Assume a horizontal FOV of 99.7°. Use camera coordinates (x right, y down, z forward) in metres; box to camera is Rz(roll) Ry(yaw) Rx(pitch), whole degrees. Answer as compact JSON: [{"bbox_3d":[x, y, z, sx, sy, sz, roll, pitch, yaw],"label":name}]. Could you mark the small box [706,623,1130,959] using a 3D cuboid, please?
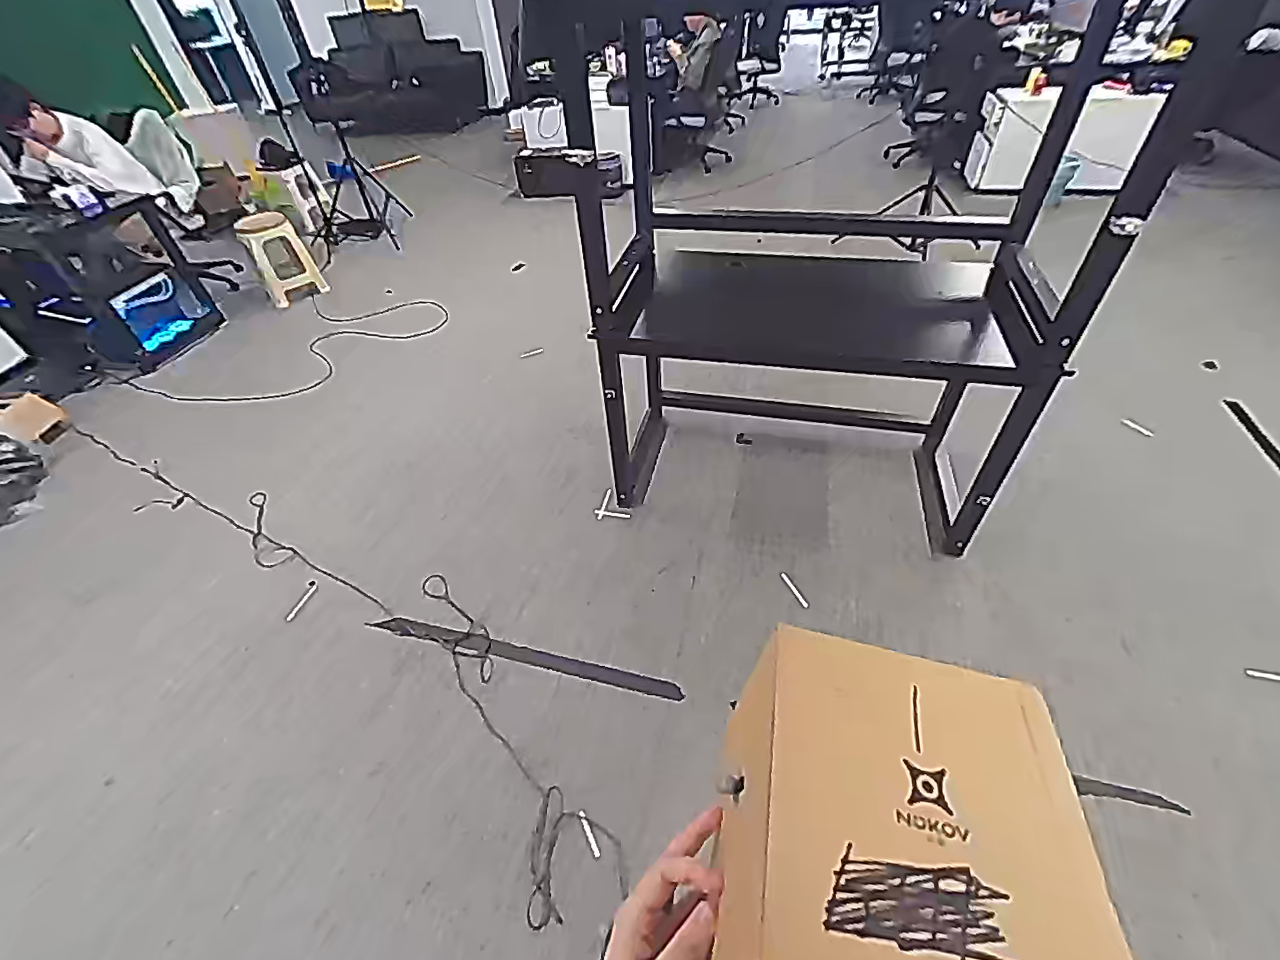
[{"bbox_3d":[0.141,0.224,0.335,0.168,0.176,0.179,13,43,6],"label":"small box"}]
